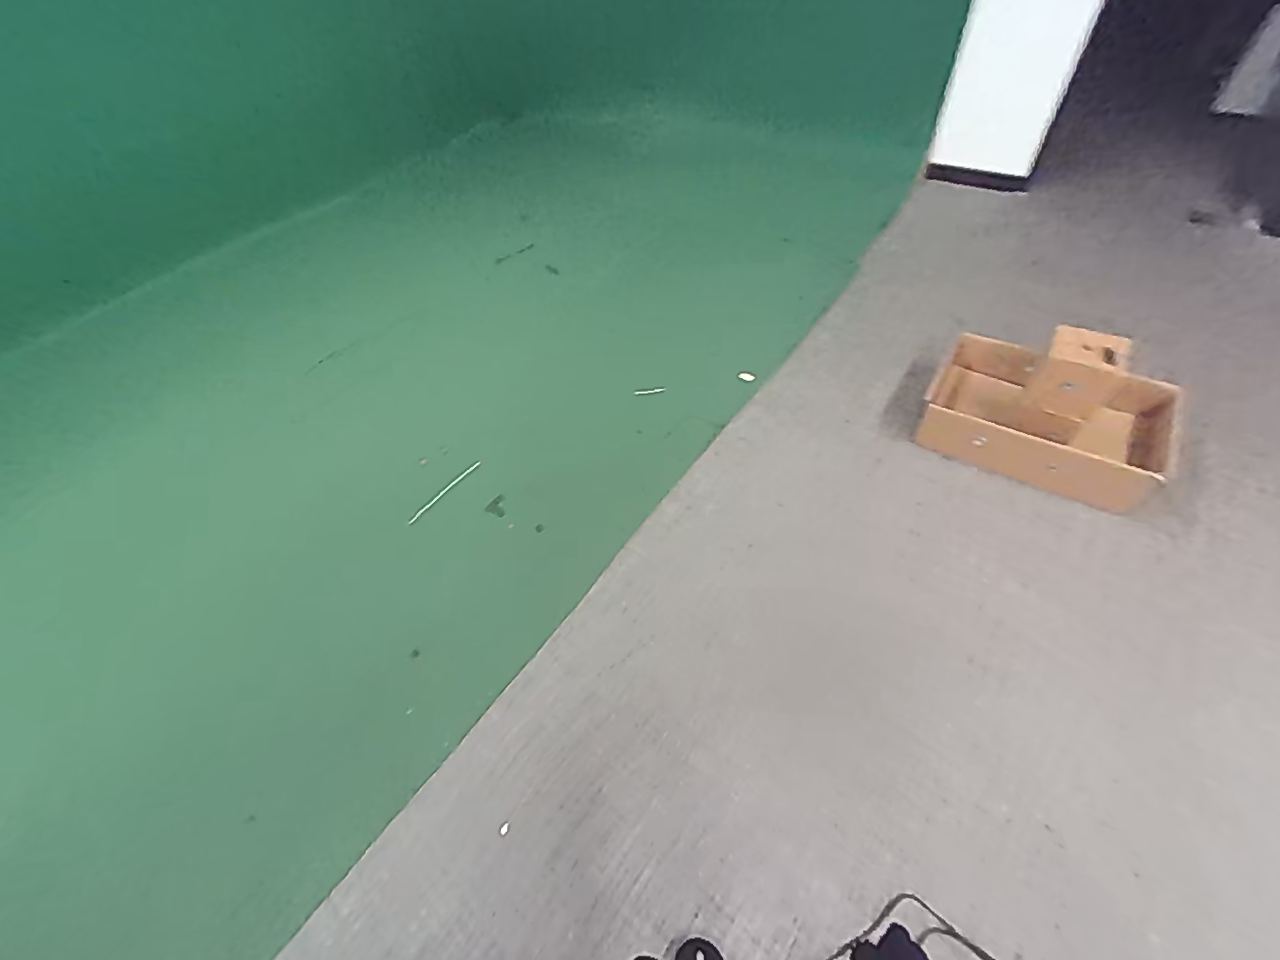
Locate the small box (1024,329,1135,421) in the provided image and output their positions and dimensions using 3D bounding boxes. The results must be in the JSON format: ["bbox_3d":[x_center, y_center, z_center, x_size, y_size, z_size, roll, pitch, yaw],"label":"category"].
[{"bbox_3d":[1.223,-0.289,1.511,0.179,0.176,0.168,25,58,25],"label":"small box"}]

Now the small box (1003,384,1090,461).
[{"bbox_3d":[1.238,-0.187,1.639,0.168,0.176,0.179,27,58,25],"label":"small box"}]
